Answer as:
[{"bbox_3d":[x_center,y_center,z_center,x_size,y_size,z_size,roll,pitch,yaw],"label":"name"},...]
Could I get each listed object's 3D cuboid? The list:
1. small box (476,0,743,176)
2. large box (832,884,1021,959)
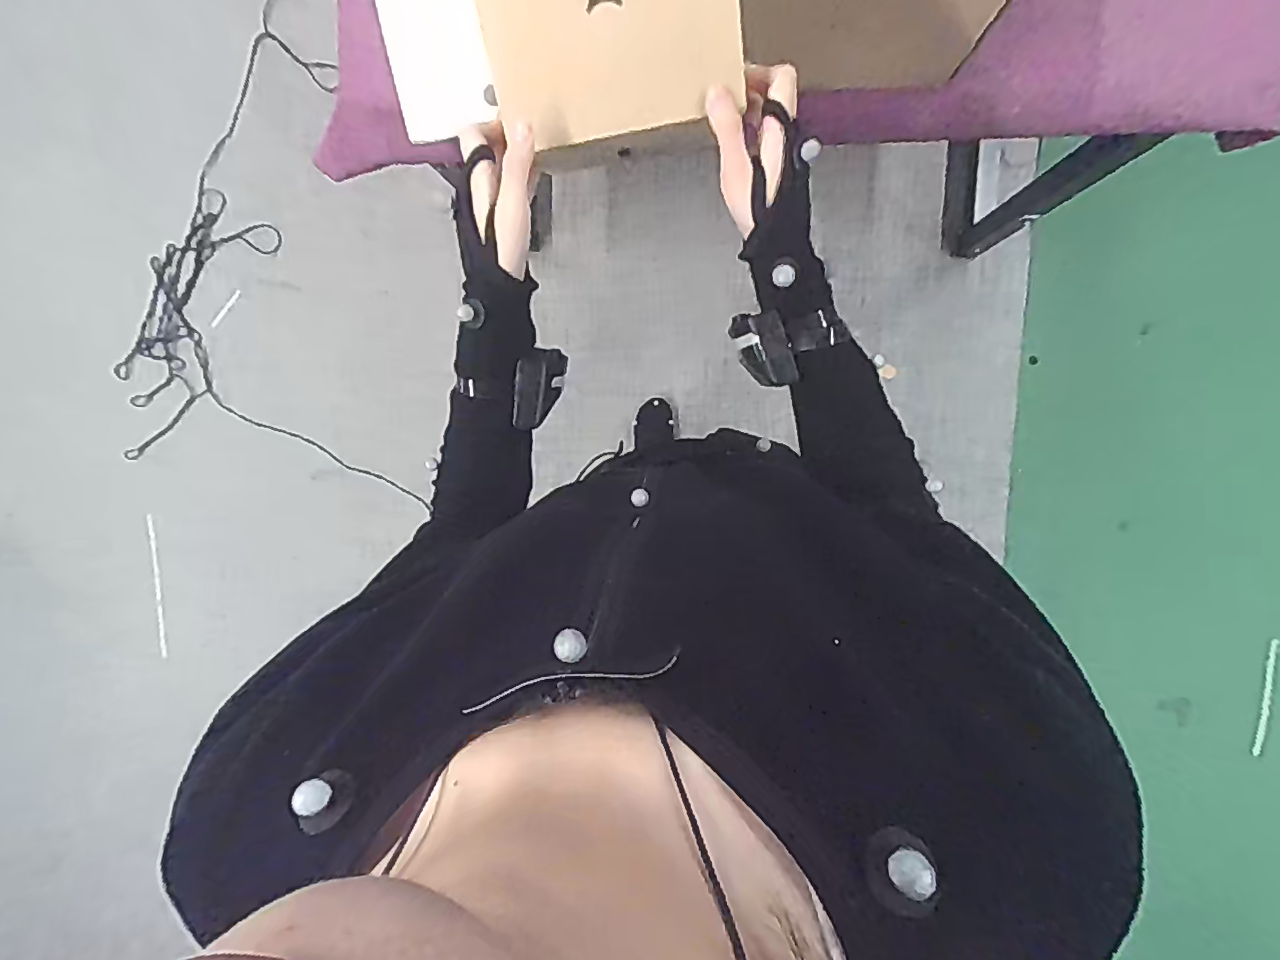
[{"bbox_3d":[-0.019,-0.340,0.406,0.168,0.176,0.179,-8,114,6],"label":"small box"},{"bbox_3d":[0.764,1.334,1.401,0.408,0.320,0.320,-13,95,6],"label":"large box"}]
